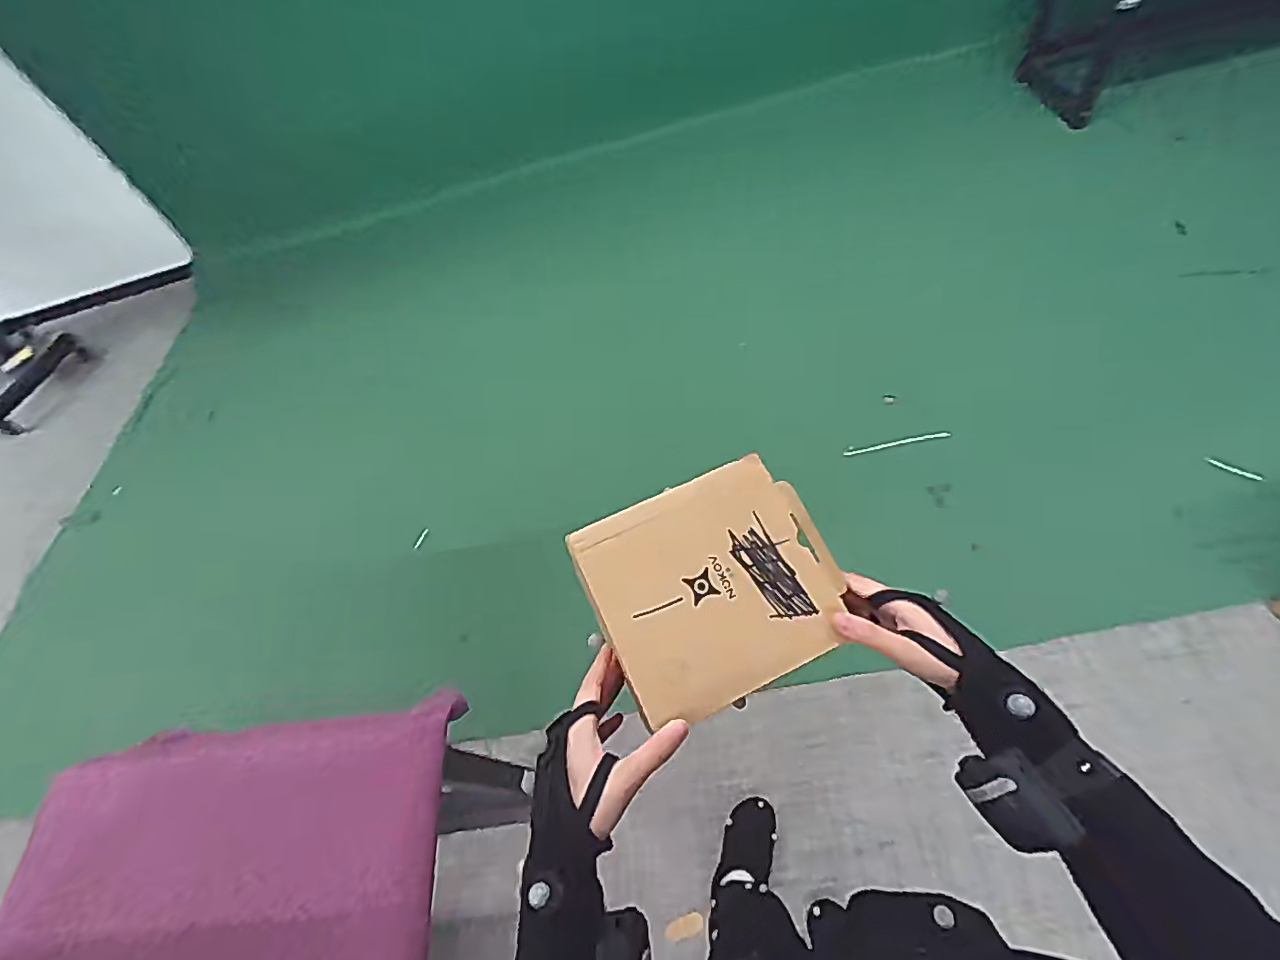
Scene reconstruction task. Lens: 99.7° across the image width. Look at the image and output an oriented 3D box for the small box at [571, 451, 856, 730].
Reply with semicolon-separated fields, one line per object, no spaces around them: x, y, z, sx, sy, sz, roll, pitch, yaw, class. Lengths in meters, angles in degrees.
0.050;0.102;0.491;0.179;0.176;0.168;-23;72;-10;small box
